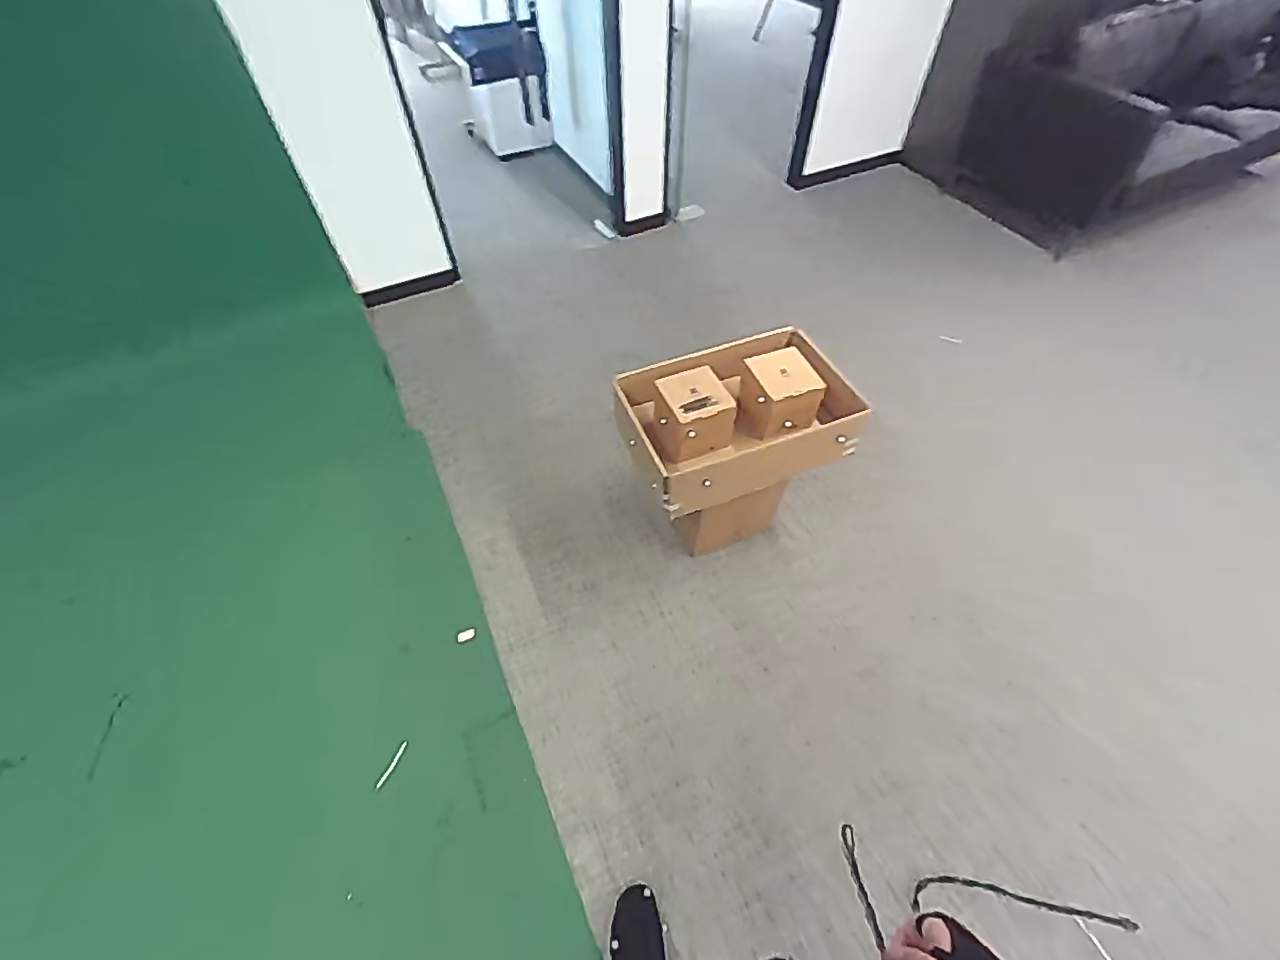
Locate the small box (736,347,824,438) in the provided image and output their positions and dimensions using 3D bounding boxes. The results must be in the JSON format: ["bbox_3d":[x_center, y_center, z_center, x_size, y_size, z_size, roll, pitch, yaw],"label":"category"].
[{"bbox_3d":[0.393,-0.250,1.555,0.168,0.176,0.179,-17,56,-12],"label":"small box"}]
